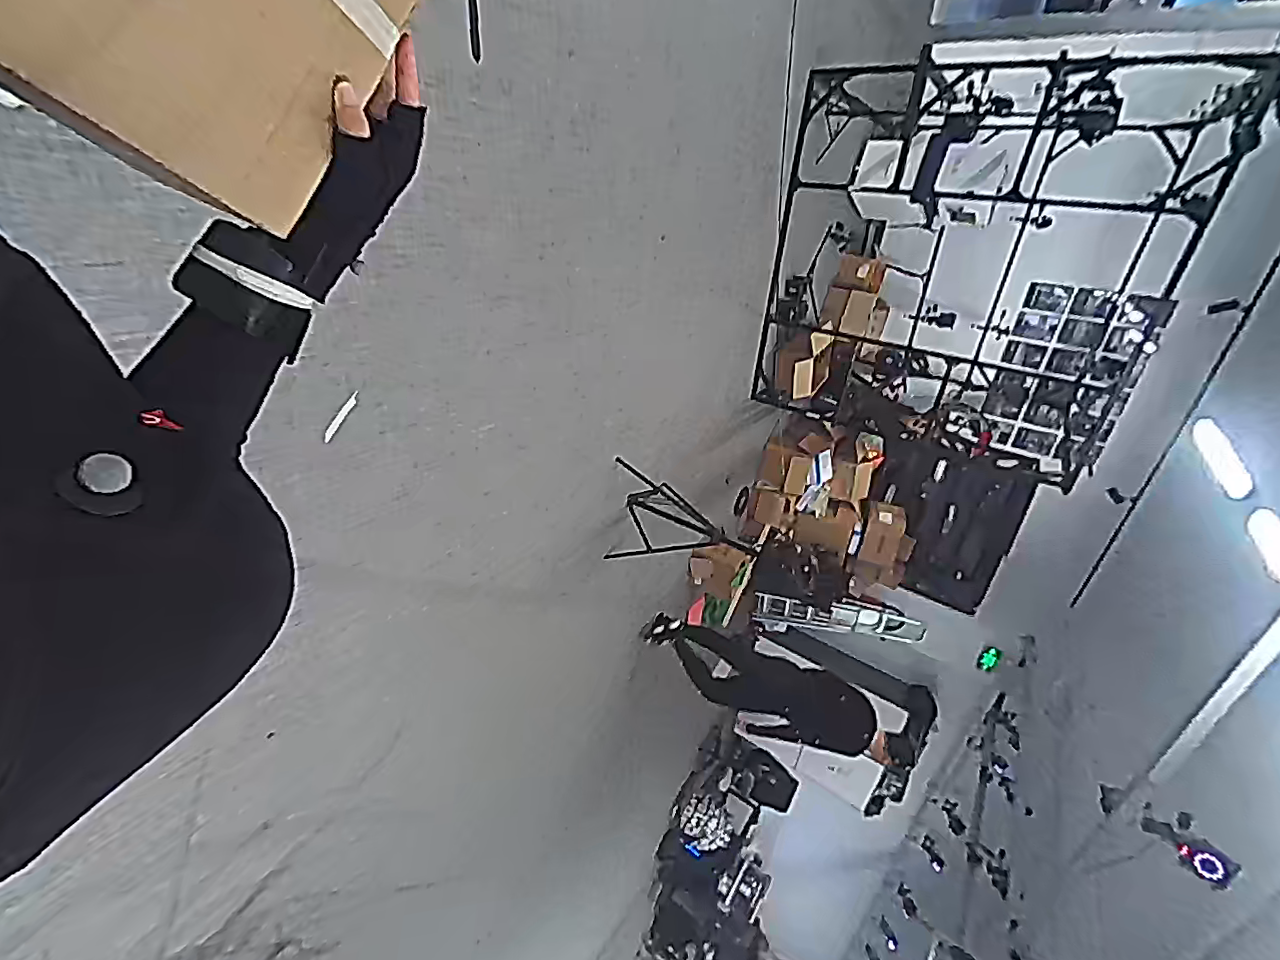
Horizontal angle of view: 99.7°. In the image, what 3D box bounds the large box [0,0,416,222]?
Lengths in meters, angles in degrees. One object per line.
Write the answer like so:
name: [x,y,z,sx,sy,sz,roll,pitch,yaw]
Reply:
large box: [-0.386,-0.428,0.305,0.320,0.320,0.408,-59,147,1]
